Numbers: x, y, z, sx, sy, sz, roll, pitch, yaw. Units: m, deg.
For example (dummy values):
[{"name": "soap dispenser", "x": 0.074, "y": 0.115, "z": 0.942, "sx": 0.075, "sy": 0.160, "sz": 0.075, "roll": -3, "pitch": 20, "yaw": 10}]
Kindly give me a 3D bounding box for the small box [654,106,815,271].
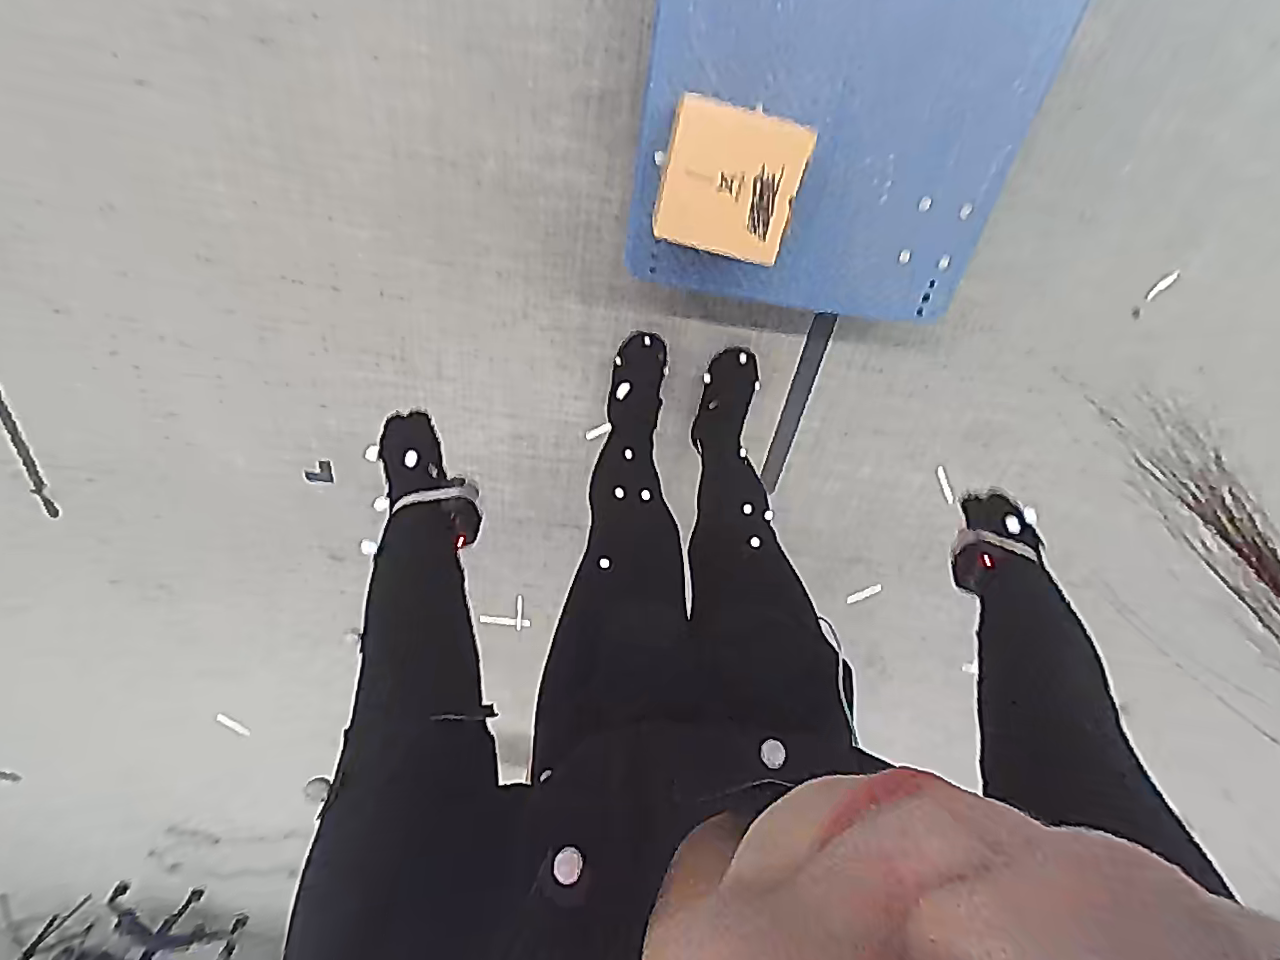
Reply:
[{"name": "small box", "x": 0.123, "y": -0.422, "z": 0.784, "sx": 0.179, "sy": 0.176, "sz": 0.168, "roll": 12, "pitch": 121, "yaw": -6}]
